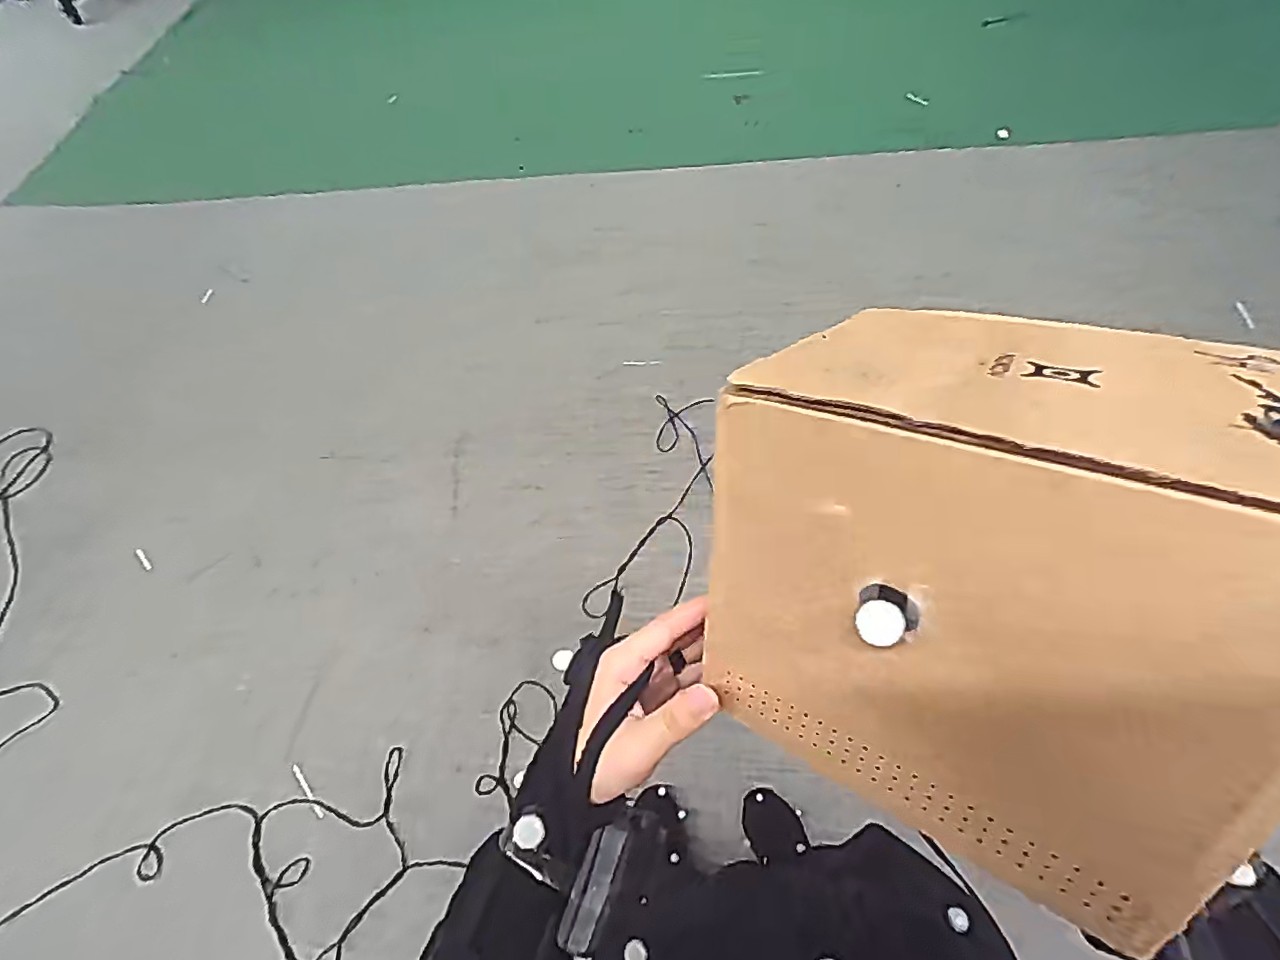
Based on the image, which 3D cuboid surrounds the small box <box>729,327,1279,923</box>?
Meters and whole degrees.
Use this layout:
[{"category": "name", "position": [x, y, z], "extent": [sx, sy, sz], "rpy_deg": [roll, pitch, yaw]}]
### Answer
[{"category": "small box", "position": [0.153, 0.038, 0.246], "extent": [0.179, 0.176, 0.168], "rpy_deg": [19, 35, 33]}]
